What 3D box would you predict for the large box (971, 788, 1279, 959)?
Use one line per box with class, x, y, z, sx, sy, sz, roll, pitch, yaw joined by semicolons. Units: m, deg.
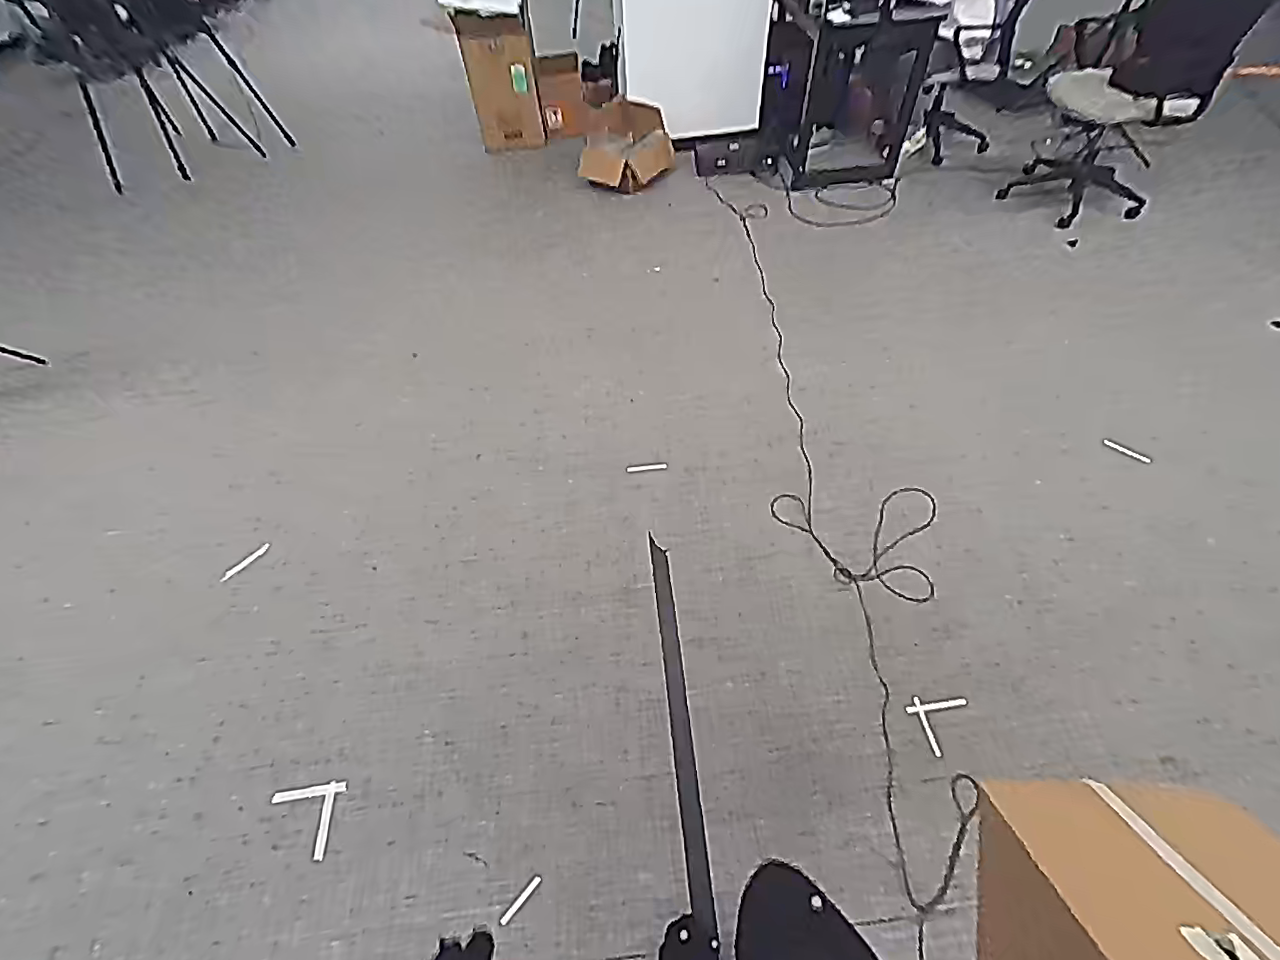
large box;0.634;0.629;0.608;0.320;0.408;0.320;-1;96;8
